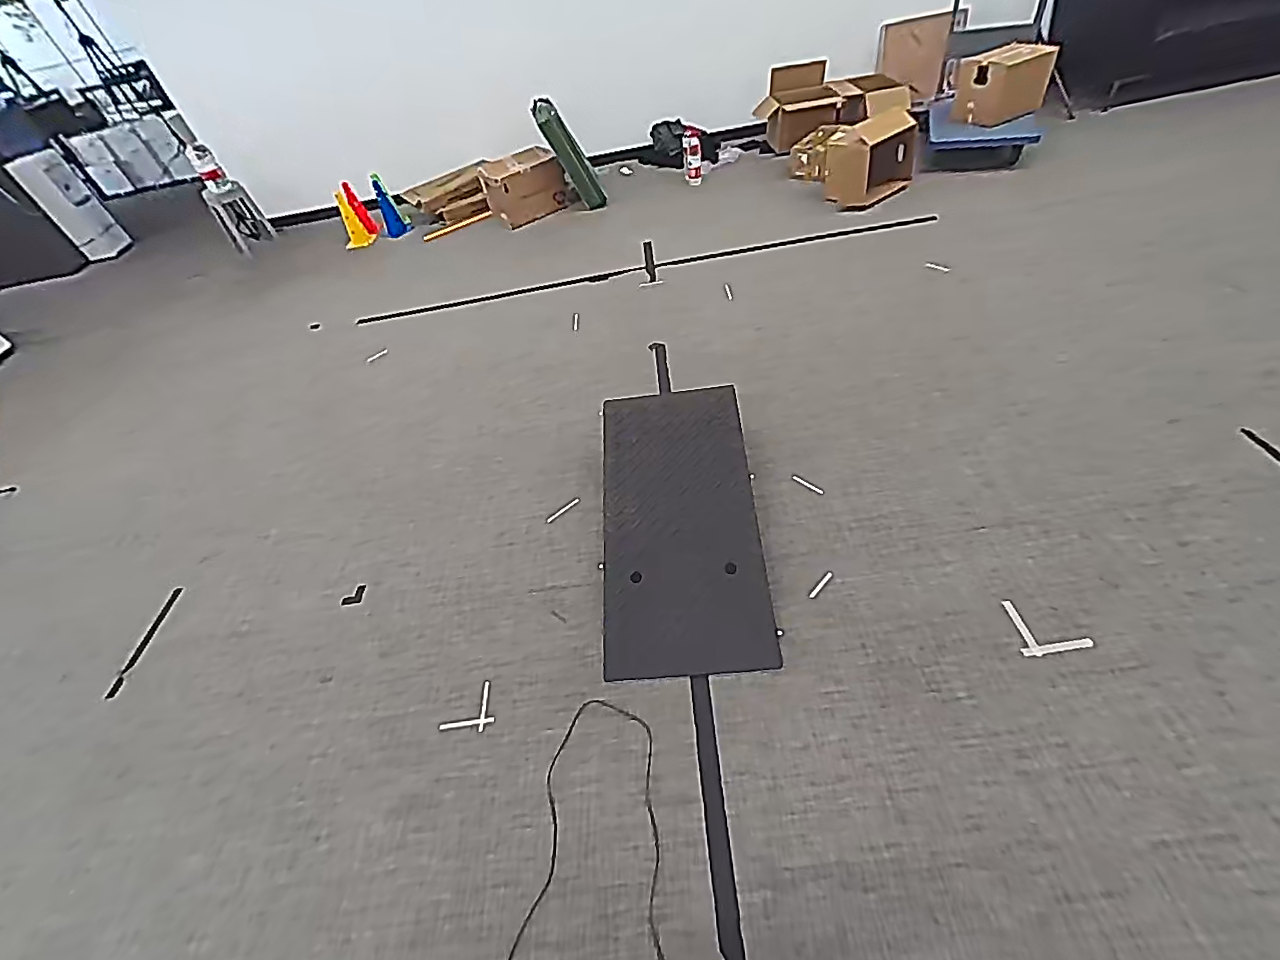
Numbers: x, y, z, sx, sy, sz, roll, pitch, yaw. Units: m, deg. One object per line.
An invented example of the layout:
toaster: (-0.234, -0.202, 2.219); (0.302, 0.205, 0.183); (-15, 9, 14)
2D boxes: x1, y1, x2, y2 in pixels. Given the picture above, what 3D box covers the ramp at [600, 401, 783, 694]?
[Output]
ramp: (0.122, 0.152, 1.755); (0.509, 0.206, 0.991); (-8, 46, 4)
